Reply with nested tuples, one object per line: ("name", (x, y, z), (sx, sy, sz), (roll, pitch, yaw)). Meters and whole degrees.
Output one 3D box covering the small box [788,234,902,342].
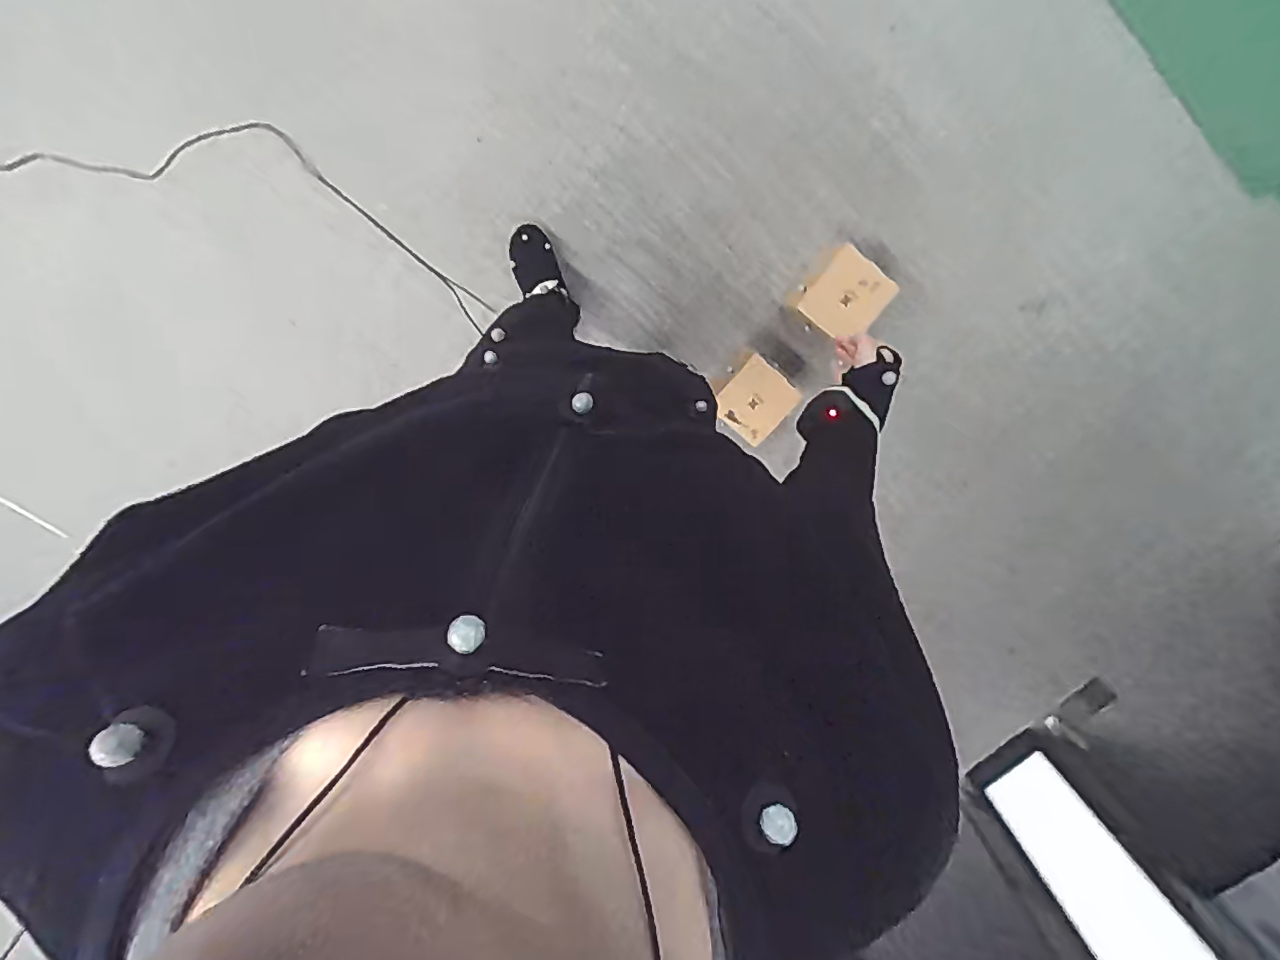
("small box", (0.477, -0.457, 1.299), (0.168, 0.176, 0.179), (35, 106, -12))
